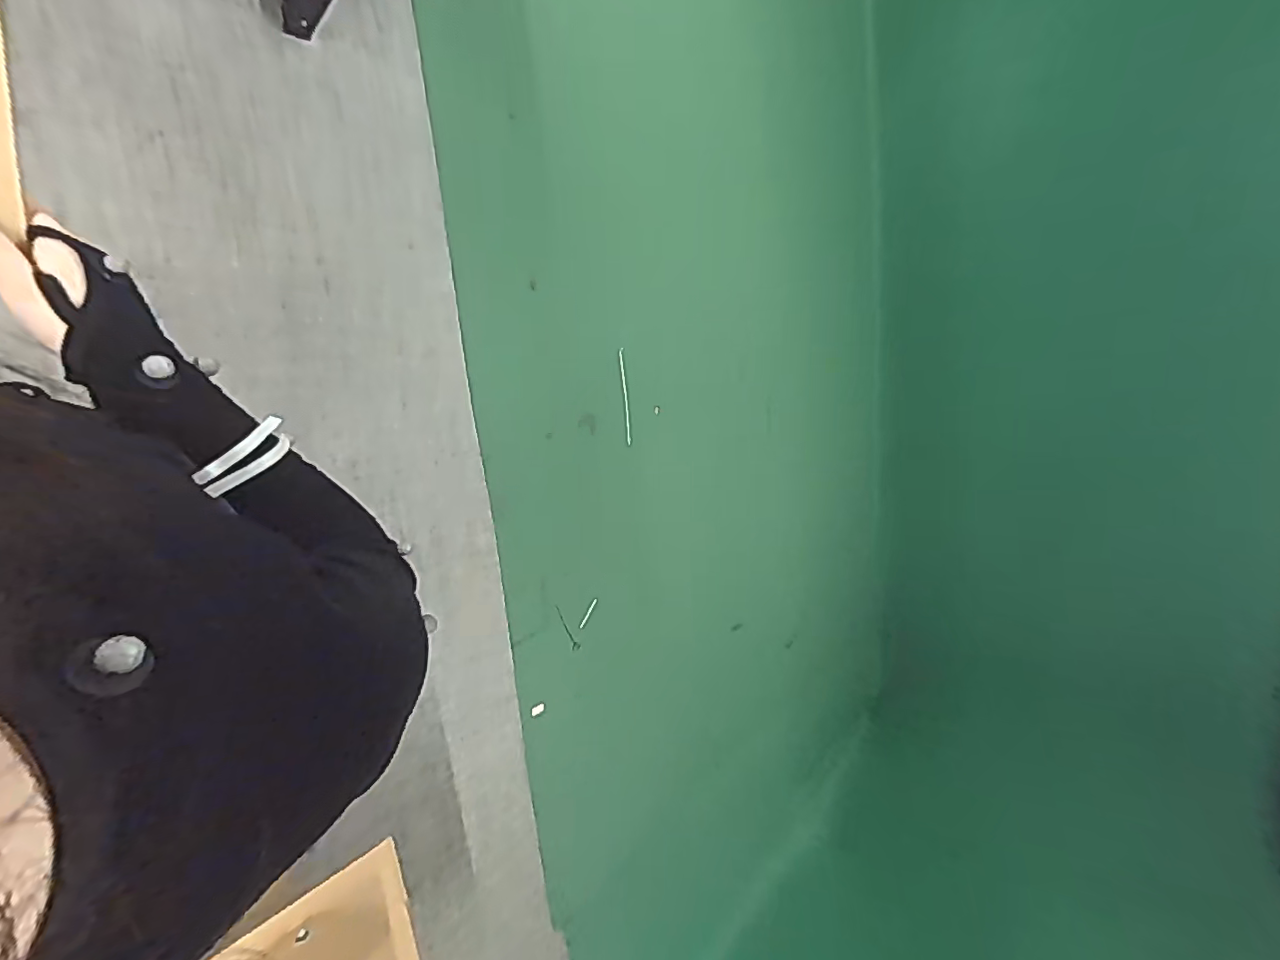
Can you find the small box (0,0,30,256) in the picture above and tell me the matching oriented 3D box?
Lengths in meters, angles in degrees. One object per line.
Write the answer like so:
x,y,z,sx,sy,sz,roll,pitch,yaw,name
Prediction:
-0.487,-0.222,0.292,0.179,0.176,0.168,-13,112,-57,small box
